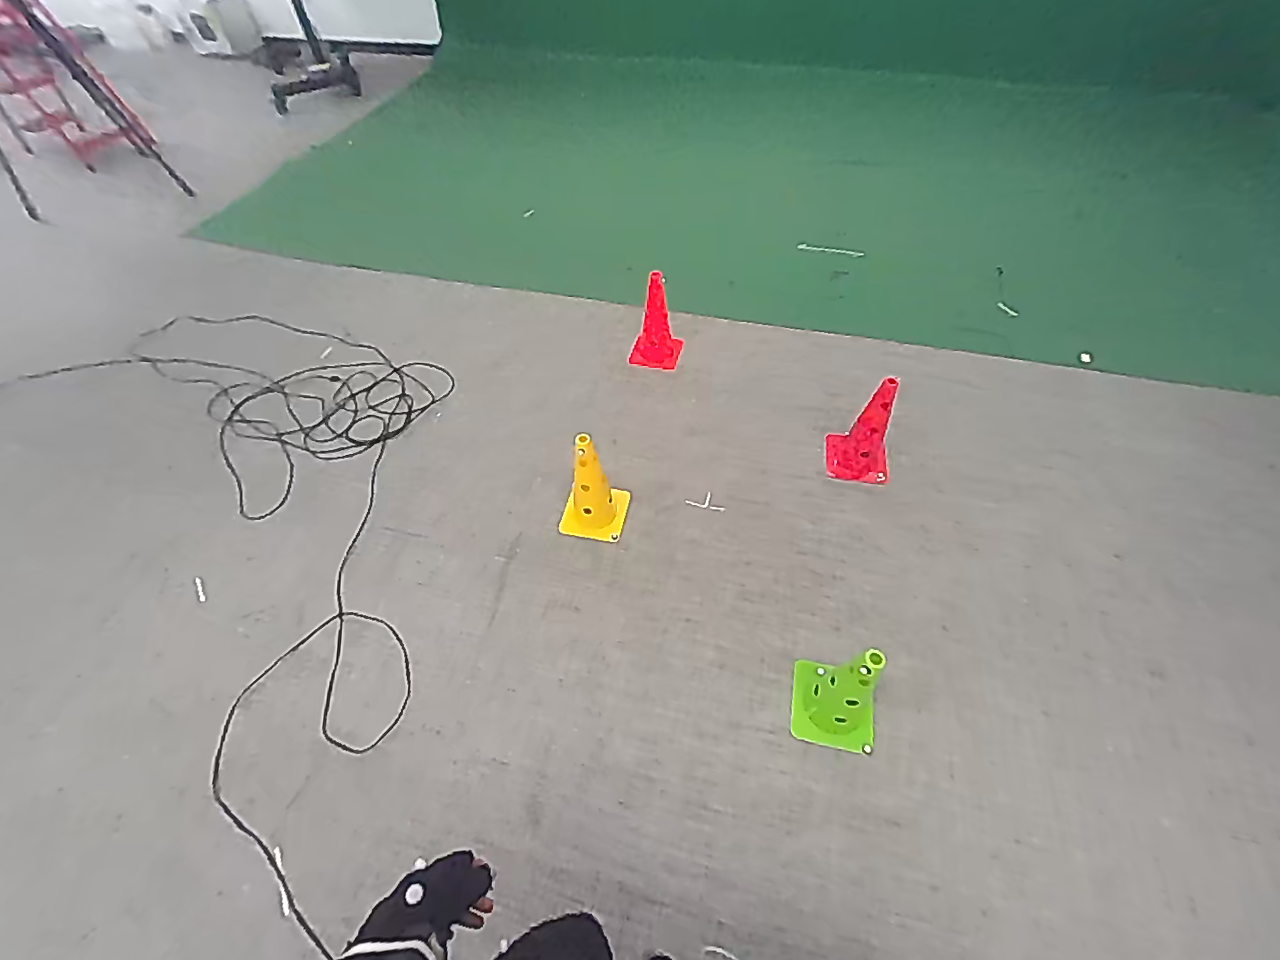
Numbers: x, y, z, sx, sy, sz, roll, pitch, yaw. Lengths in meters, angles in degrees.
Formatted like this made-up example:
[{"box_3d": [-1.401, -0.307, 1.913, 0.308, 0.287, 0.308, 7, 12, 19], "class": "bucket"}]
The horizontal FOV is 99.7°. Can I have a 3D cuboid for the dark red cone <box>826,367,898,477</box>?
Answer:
[{"box_3d": [0.732, -0.193, 1.708, 0.202, 0.394, 0.201, 7, 52, 7], "class": "dark red cone"}]

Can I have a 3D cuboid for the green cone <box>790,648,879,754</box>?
[{"box_3d": [0.481, 0.468, 1.241, 0.202, 0.368, 0.200, 9, 53, 10], "class": "green cone"}]

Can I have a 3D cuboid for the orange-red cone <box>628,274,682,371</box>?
[{"box_3d": [0.055, -0.628, 2.096, 0.198, 0.360, 0.199, 11, 55, 11], "class": "orange-red cone"}]
